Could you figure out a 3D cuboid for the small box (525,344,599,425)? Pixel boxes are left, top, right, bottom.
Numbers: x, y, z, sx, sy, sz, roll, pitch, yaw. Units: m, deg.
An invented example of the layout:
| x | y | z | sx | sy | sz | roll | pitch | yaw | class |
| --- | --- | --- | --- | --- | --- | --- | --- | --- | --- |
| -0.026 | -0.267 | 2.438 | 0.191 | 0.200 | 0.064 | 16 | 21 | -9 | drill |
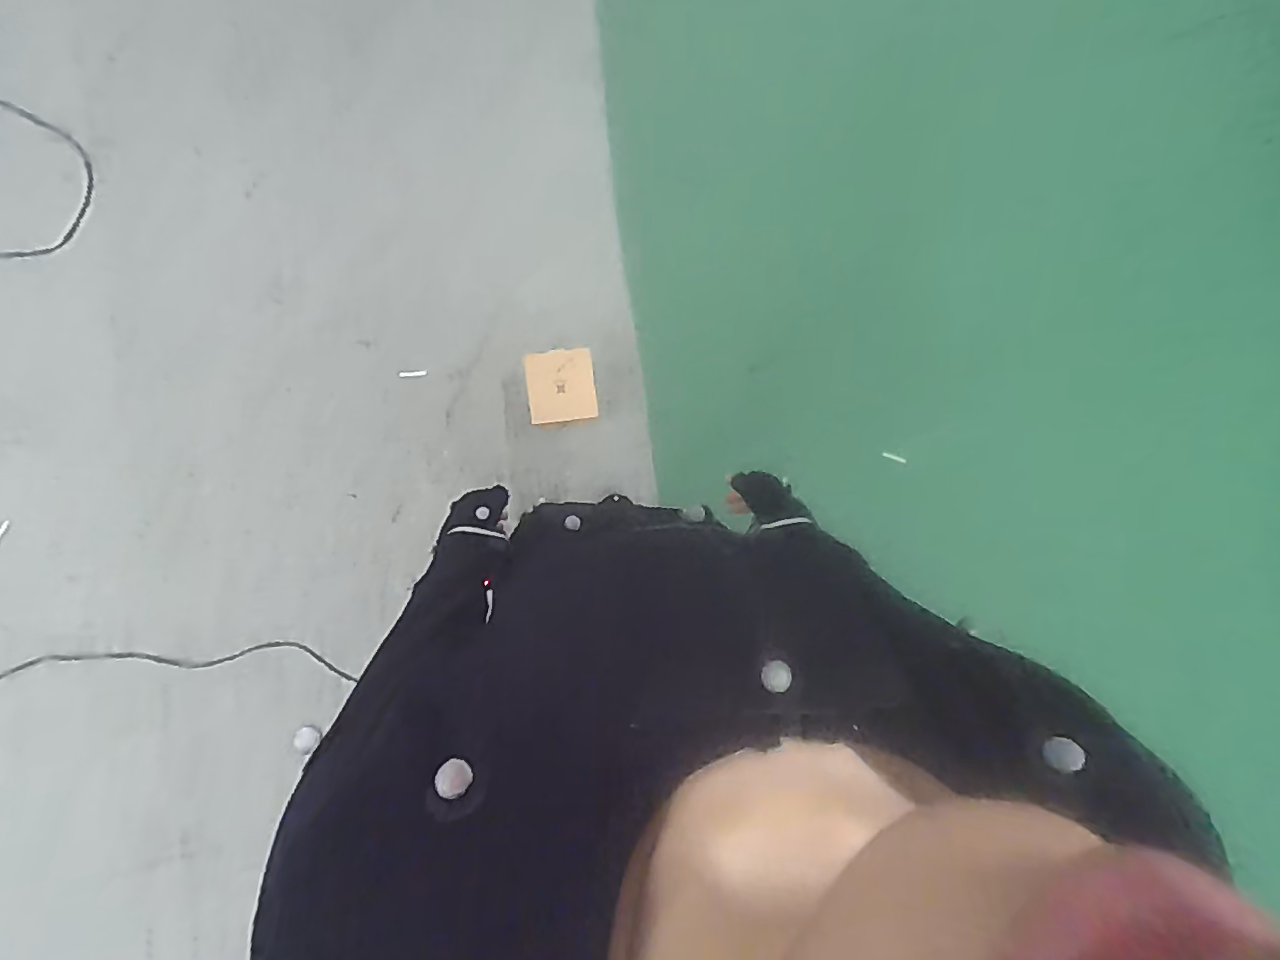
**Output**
| x | y | z | sx | sy | sz | roll | pitch | yaw | class |
| --- | --- | --- | --- | --- | --- | --- | --- | --- | --- |
| -0.193 | -0.236 | 1.387 | 0.168 | 0.176 | 0.179 | -7 | 90 | -6 | small box |
